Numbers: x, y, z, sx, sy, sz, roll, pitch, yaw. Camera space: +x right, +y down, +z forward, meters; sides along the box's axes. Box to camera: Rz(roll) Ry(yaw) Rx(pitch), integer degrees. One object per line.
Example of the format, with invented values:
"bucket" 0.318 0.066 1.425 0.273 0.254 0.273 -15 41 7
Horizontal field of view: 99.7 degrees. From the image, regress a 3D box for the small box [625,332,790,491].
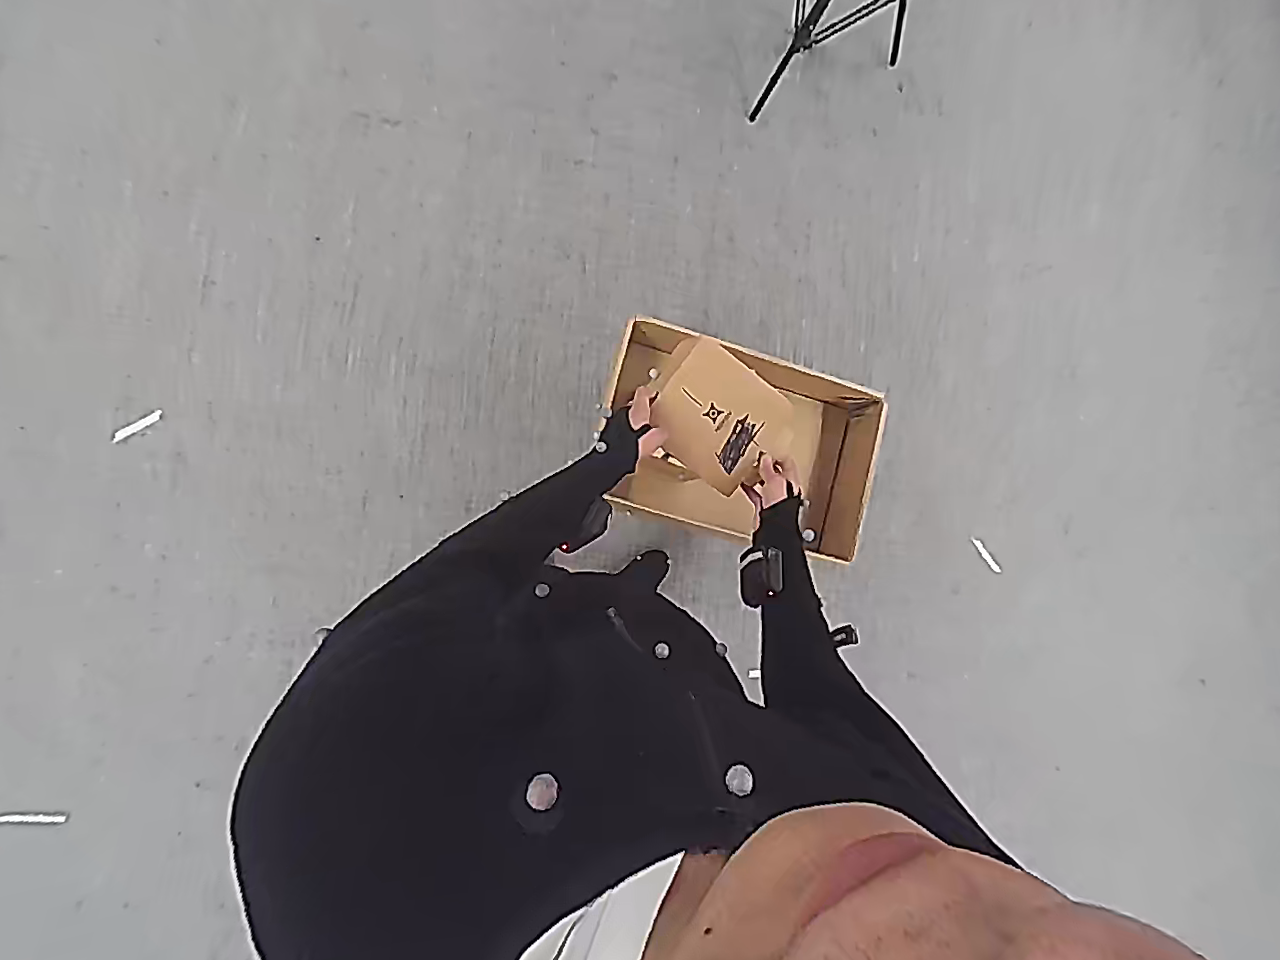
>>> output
"small box" 0.095 -0.110 0.850 0.179 0.176 0.168 36 94 -11
